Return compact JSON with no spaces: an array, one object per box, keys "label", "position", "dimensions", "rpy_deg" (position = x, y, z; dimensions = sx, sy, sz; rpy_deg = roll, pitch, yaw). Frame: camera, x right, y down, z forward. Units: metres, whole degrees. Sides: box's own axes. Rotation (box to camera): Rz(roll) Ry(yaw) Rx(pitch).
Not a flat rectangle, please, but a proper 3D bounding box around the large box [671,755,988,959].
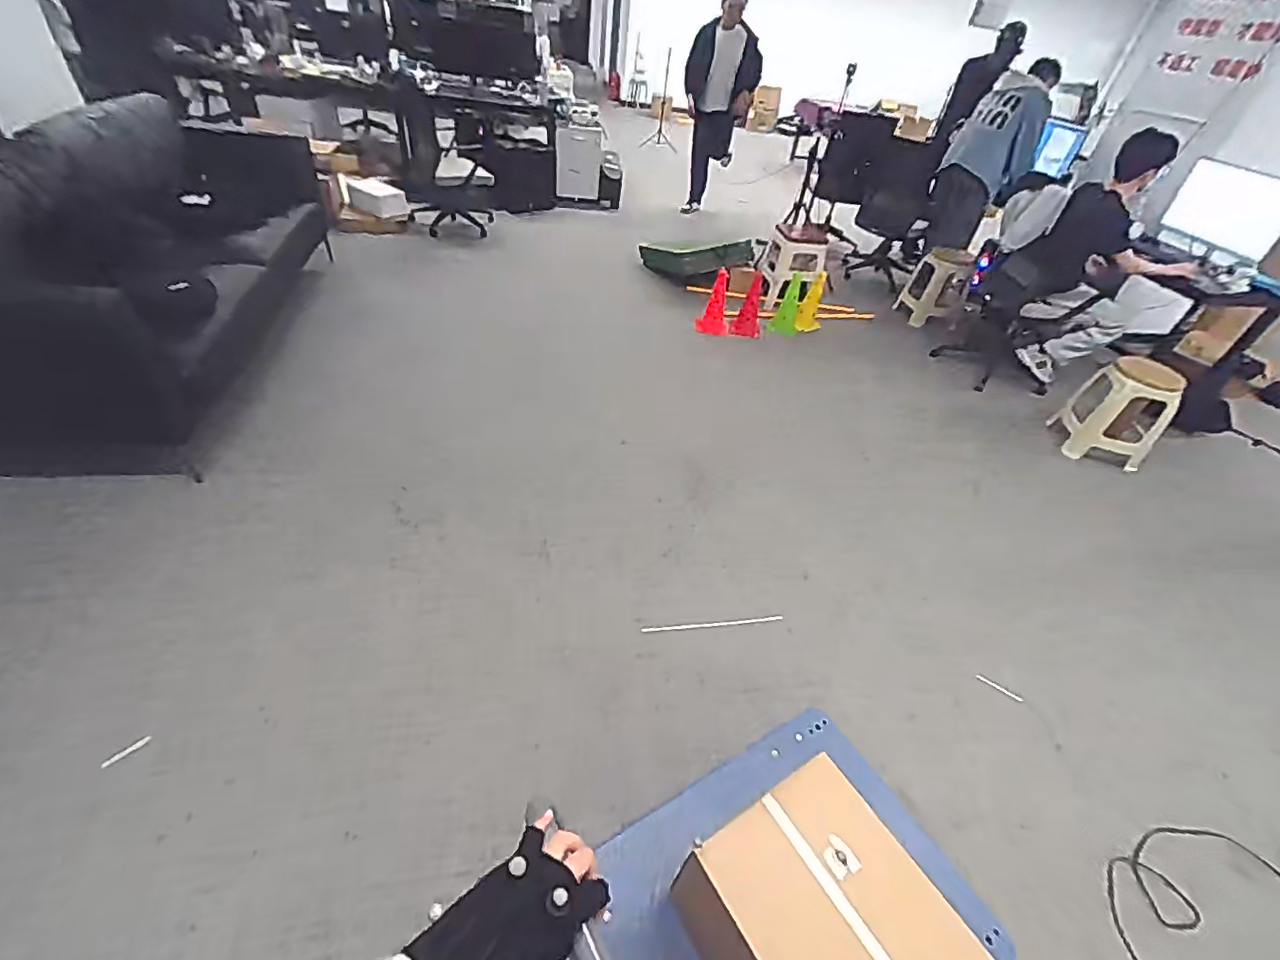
[{"label":"large box","position":[0.301,0.791,0.933],"dimensions":[0.320,0.320,0.408],"rpy_deg":[-18,46,-27]}]
